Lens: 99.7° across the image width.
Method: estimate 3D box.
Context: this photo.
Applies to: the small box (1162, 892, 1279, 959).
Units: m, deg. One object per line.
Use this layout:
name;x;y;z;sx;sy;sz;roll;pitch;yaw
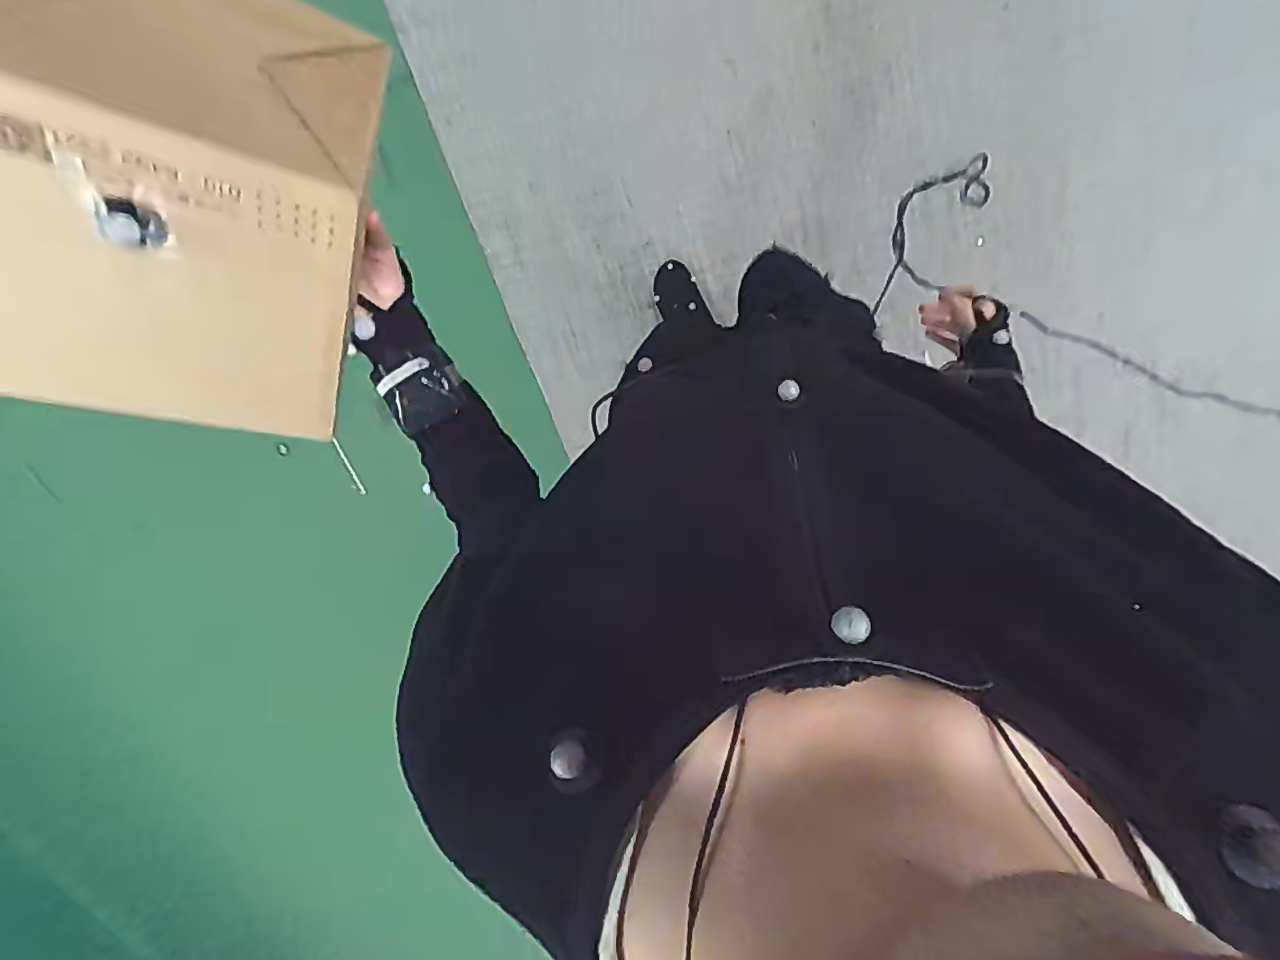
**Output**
small box;1.052;0.855;0.928;0.168;0.176;0.179;-16;109;11
